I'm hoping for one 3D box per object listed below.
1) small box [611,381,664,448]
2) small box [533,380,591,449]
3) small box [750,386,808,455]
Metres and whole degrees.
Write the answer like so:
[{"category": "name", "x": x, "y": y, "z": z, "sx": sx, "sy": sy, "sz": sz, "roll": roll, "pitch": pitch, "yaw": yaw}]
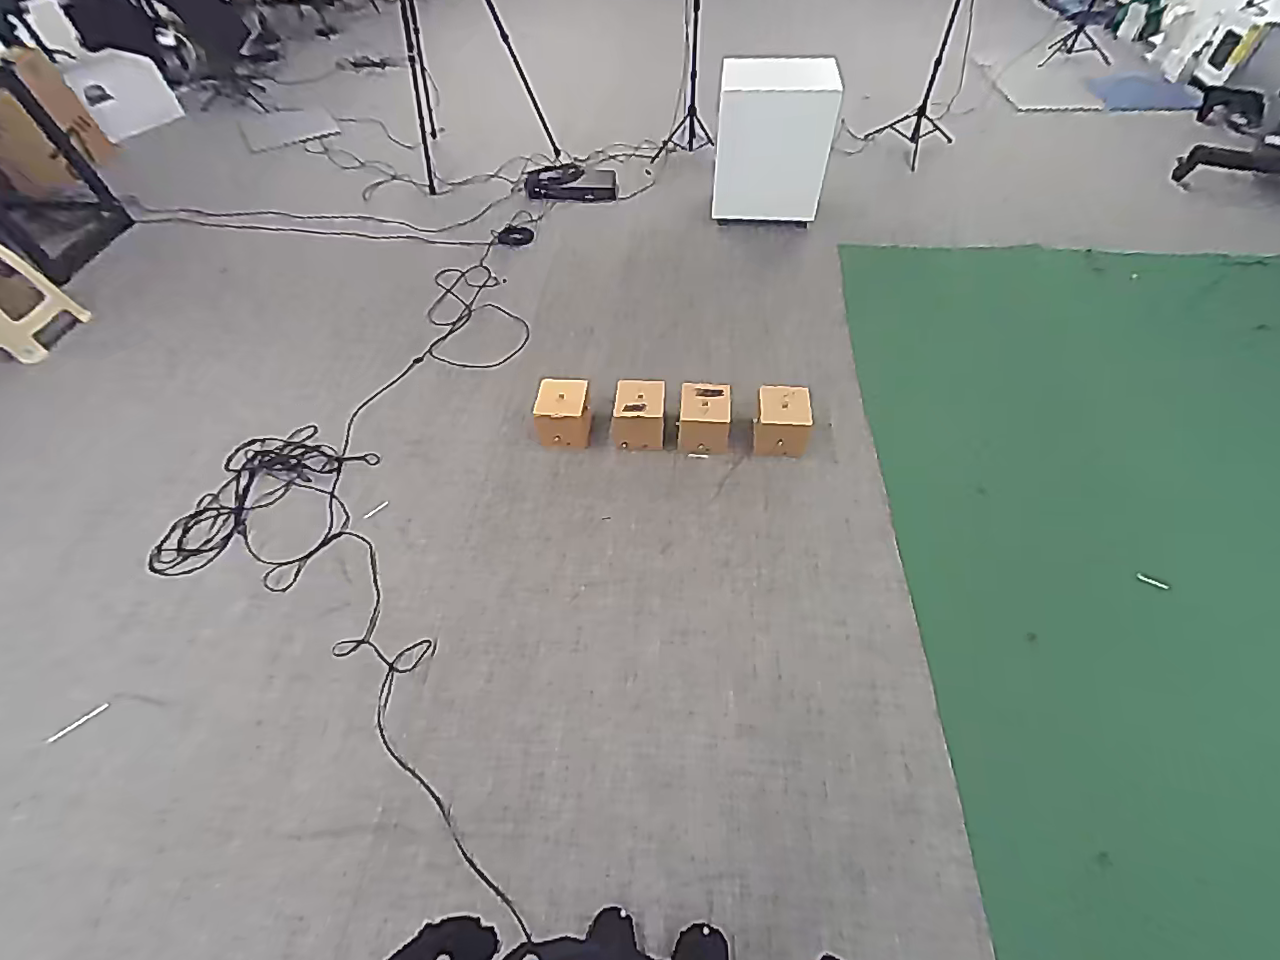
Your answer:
[{"category": "small box", "x": -0.004, "y": -0.227, "z": 1.899, "sx": 0.168, "sy": 0.176, "sz": 0.179, "roll": 2, "pitch": 52, "yaw": 5}, {"category": "small box", "x": -0.269, "y": -0.233, "z": 1.918, "sx": 0.168, "sy": 0.176, "sz": 0.179, "roll": 2, "pitch": 53, "yaw": 5}, {"category": "small box", "x": 0.475, "y": -0.202, "z": 1.863, "sx": 0.168, "sy": 0.176, "sz": 0.179, "roll": 3, "pitch": 53, "yaw": 4}]
